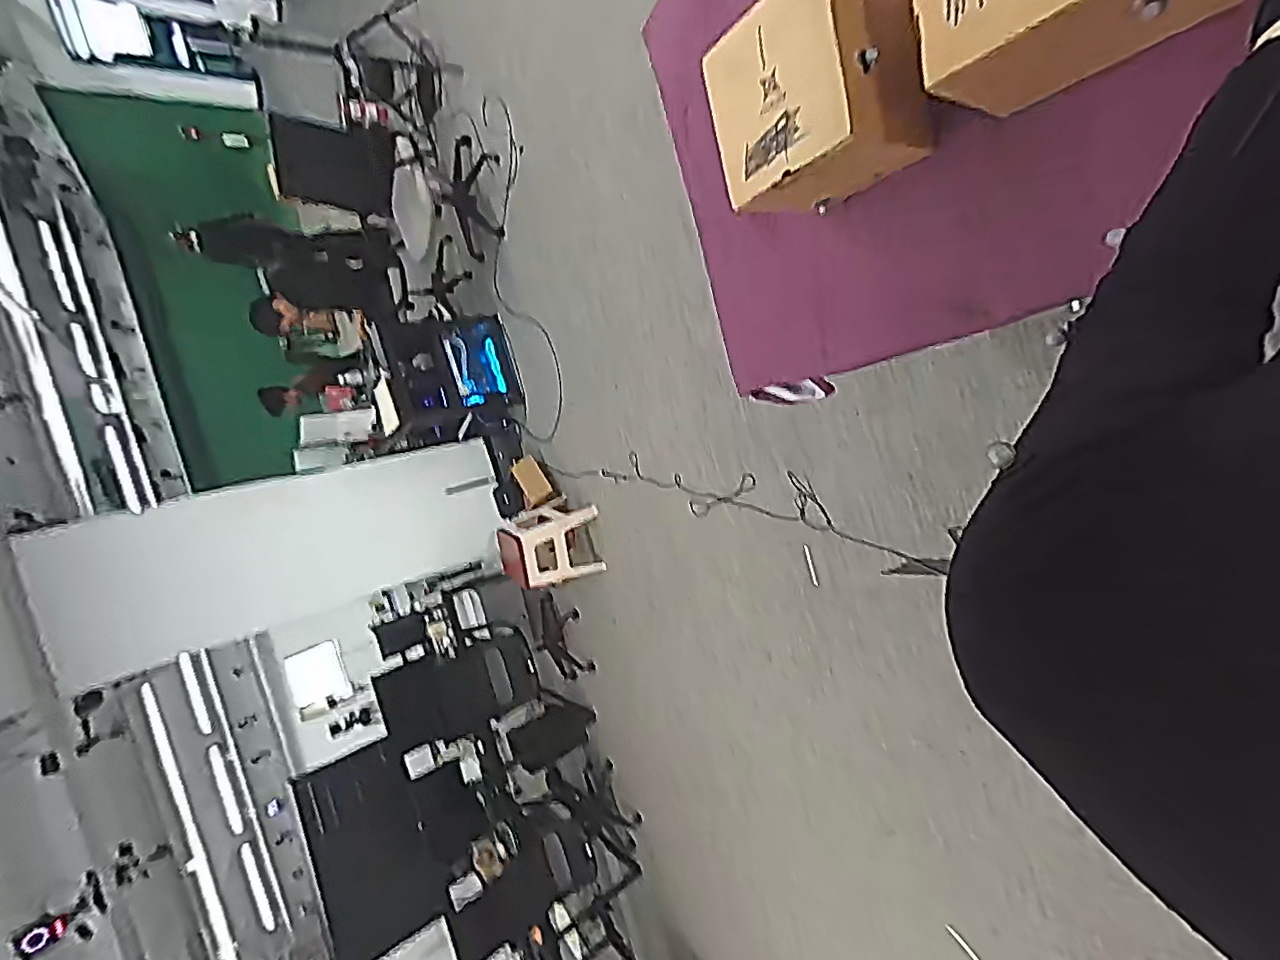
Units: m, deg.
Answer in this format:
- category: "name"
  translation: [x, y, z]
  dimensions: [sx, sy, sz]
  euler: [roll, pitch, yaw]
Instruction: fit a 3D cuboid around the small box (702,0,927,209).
- category: "small box"
  translation: [0.202, -0.433, 0.618]
  dimensions: [0.168, 0.176, 0.179]
  euler: [-3, 102, 55]
